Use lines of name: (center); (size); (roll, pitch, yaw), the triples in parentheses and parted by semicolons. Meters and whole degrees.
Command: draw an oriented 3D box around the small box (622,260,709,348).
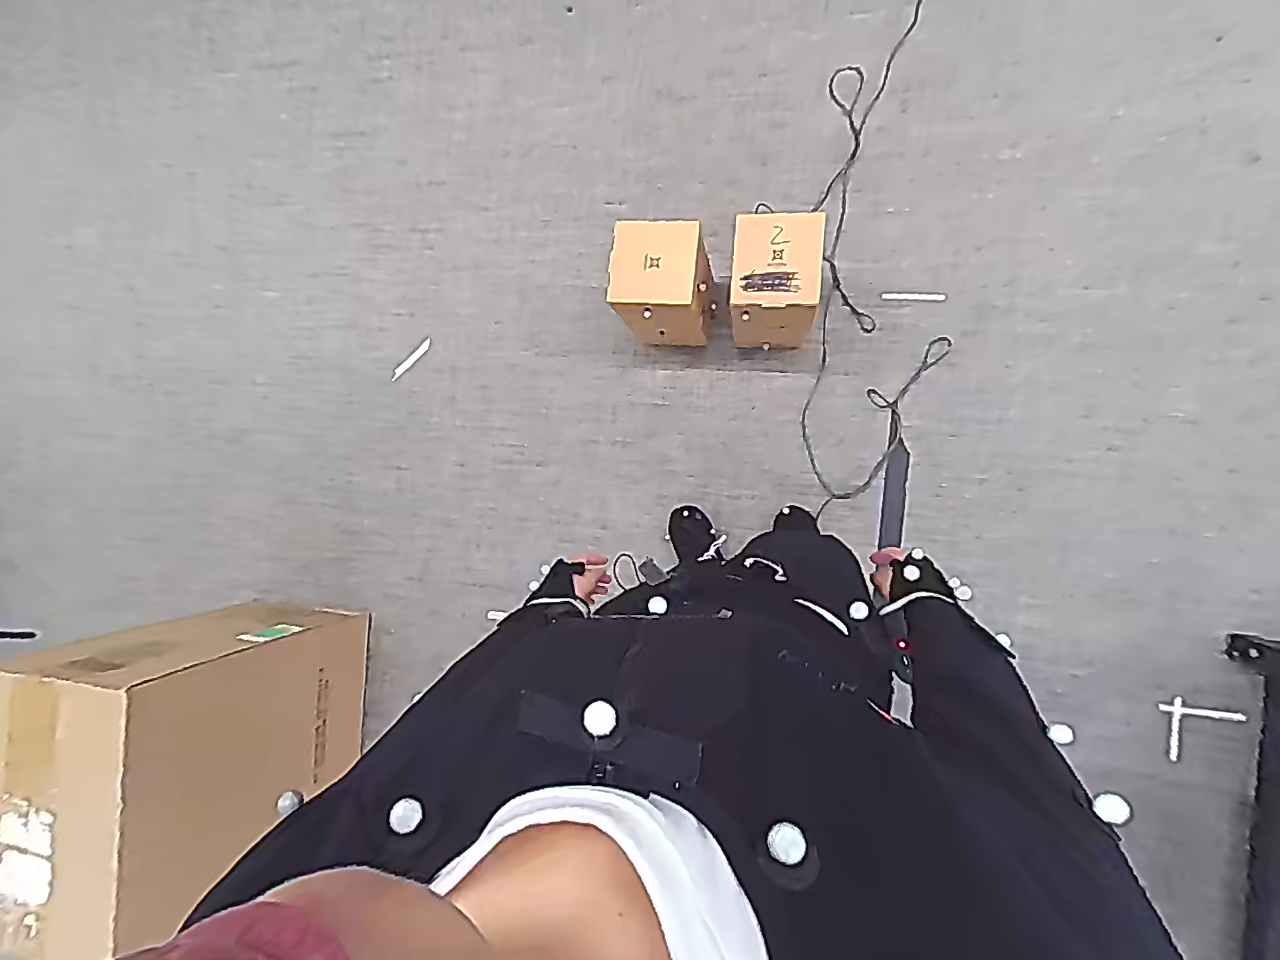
small box: (0.066, -0.422, 1.306); (0.179, 0.176, 0.168); (6, 91, 12)

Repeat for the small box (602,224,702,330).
small box: (0.034, -0.423, 1.147); (0.179, 0.176, 0.168); (6, 91, 13)

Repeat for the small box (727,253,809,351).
small box: (0.293, -0.409, 1.259); (0.168, 0.176, 0.179); (4, 91, 12)
